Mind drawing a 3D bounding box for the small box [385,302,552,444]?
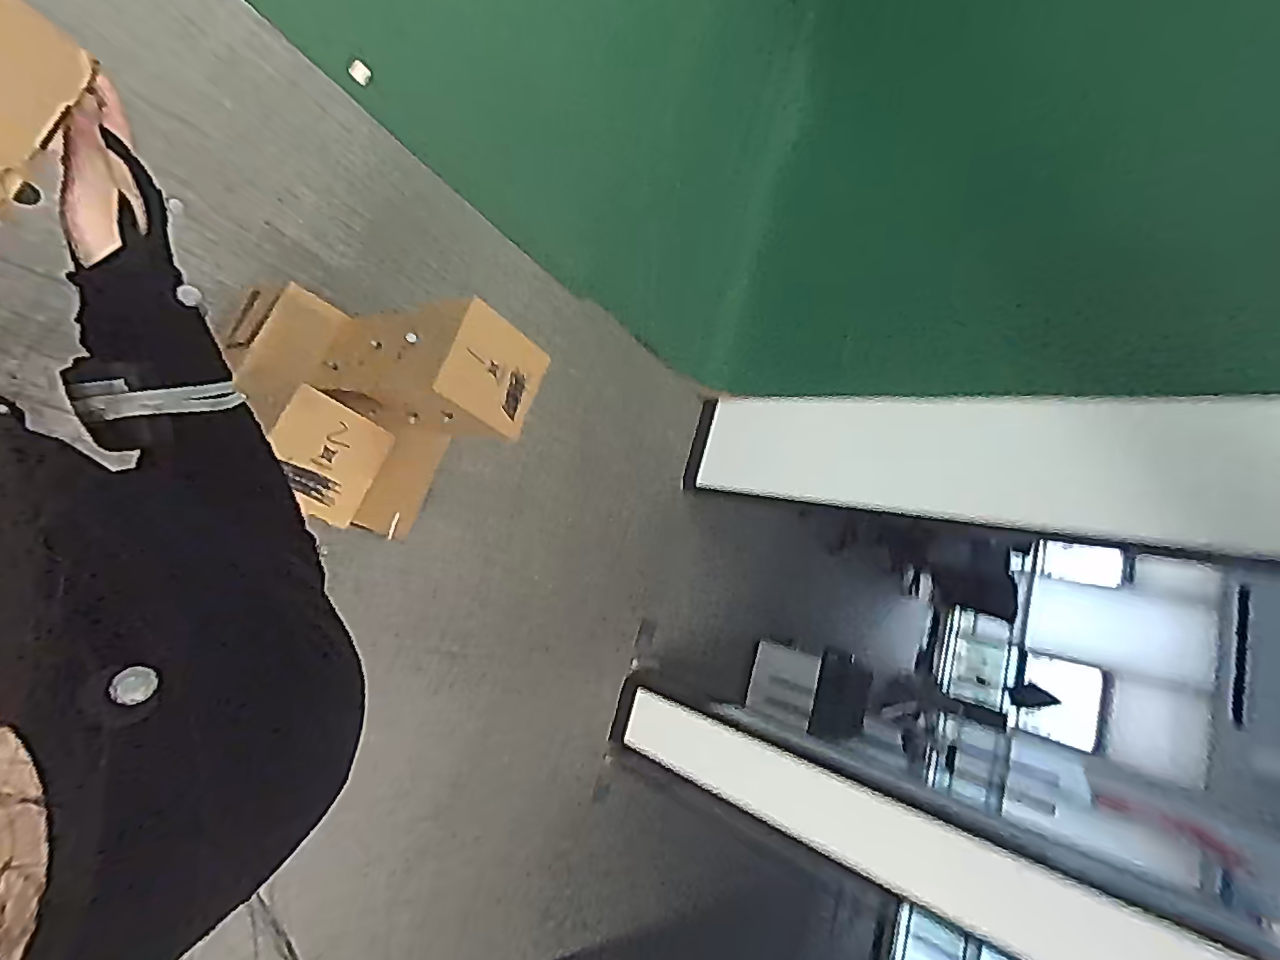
[{"bbox_3d":[-0.288,-0.176,0.915,0.179,0.176,0.168,36,68,-47],"label":"small box"}]

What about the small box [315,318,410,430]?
[{"bbox_3d":[-0.534,-0.211,1.127,0.179,0.176,0.168,37,68,-49],"label":"small box"}]

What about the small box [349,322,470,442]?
[{"bbox_3d":[-0.406,-0.188,1.026,0.179,0.176,0.168,35,69,-46],"label":"small box"}]

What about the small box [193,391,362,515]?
[{"bbox_3d":[-0.662,-0.054,0.990,0.179,0.176,0.168,39,66,-48],"label":"small box"}]
